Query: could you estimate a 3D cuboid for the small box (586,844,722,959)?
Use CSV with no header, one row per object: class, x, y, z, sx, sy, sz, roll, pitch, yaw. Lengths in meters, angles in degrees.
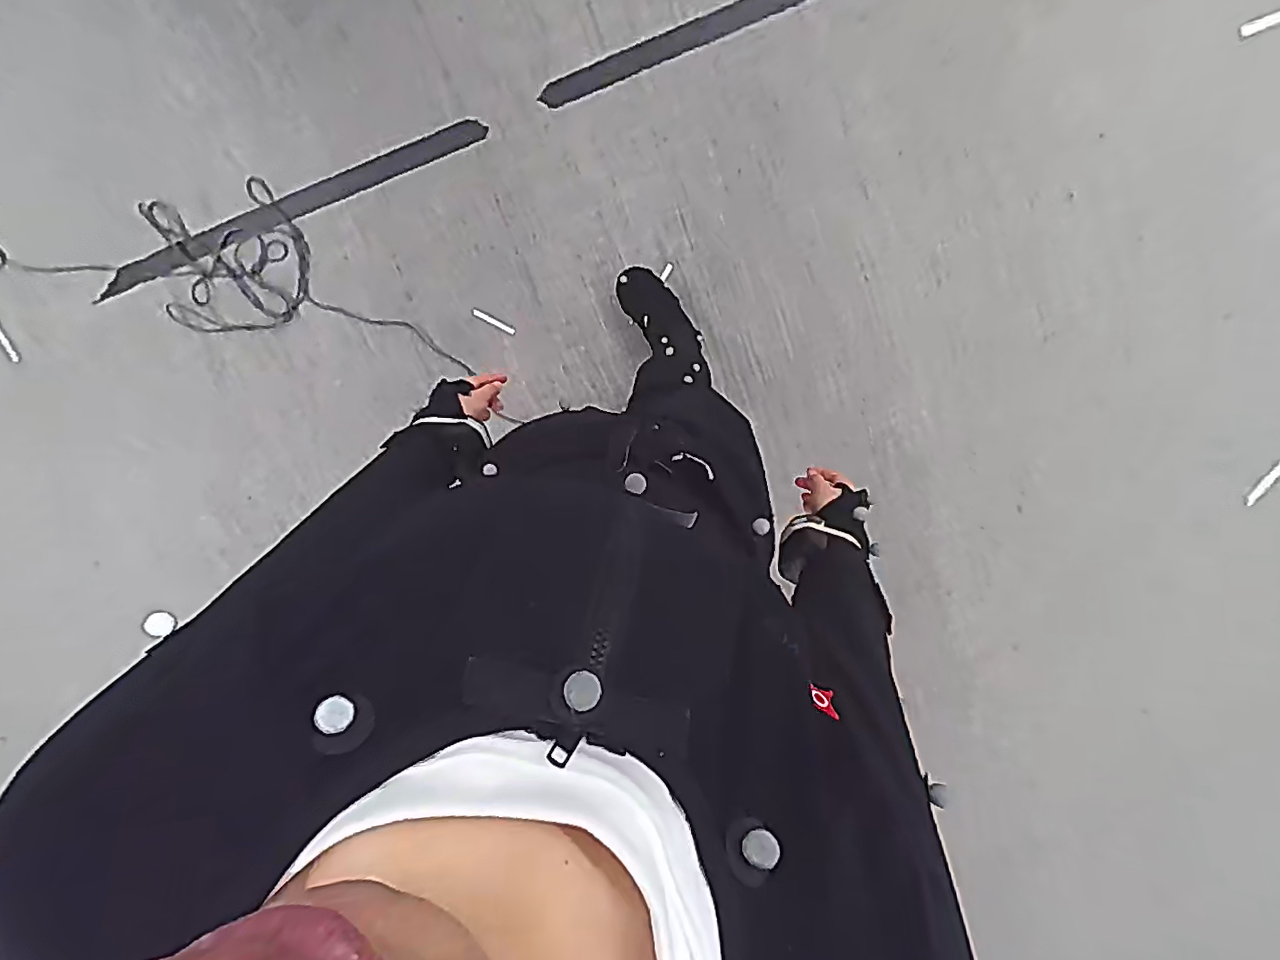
small box,0.026,0.710,0.841,0.179,0.176,0.168,-18,103,7
